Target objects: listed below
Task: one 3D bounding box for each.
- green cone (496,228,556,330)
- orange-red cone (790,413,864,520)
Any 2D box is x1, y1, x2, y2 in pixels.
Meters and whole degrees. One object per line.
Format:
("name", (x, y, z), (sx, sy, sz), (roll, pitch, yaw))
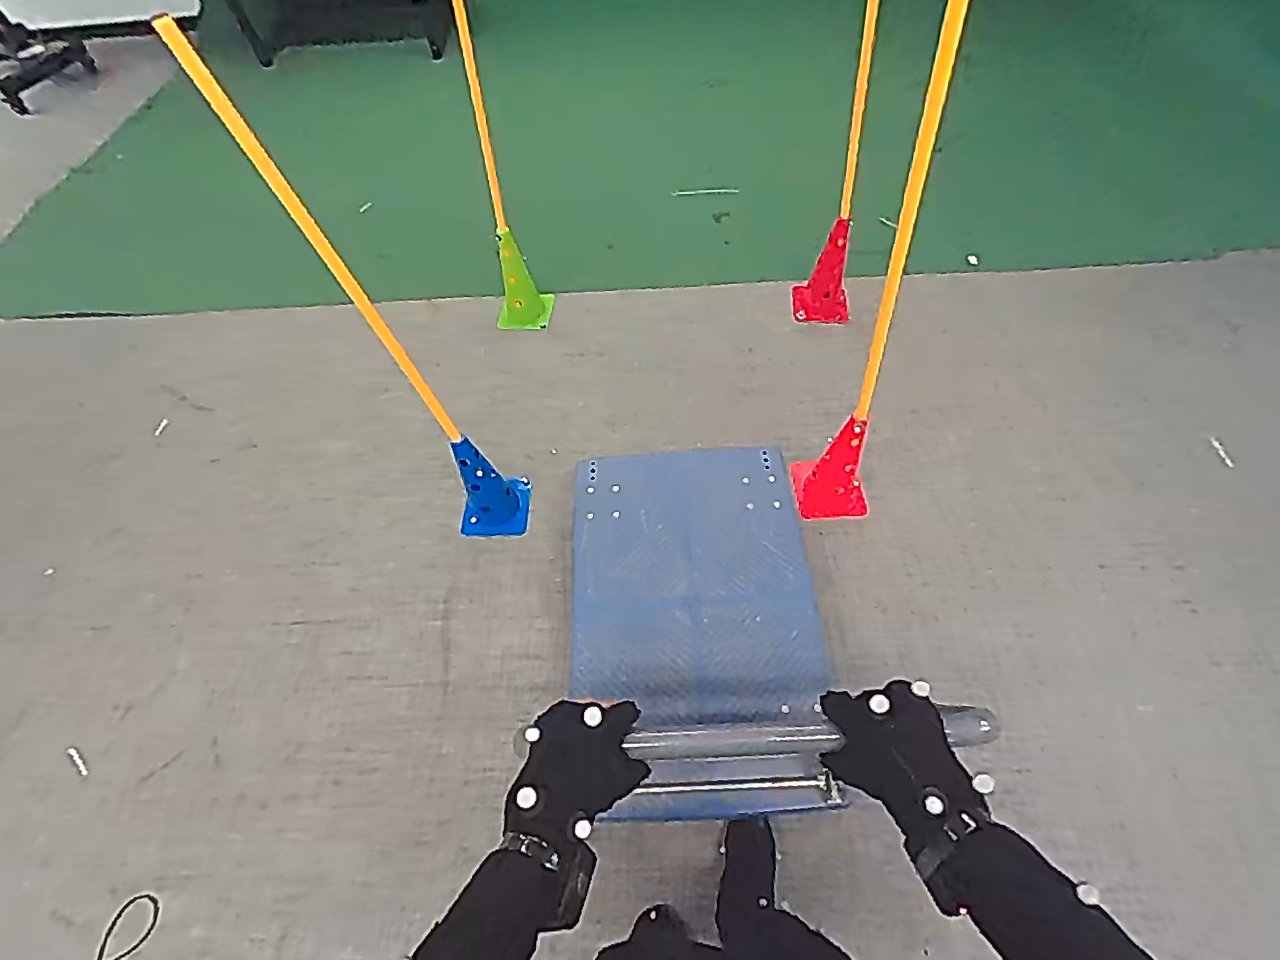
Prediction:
("green cone", (-0.453, -0.755, 1.993), (0.202, 0.368, 0.200), (2, 58, 6))
("orange-red cone", (0.553, -0.059, 1.499), (0.199, 0.360, 0.198), (-3, 57, 4))
